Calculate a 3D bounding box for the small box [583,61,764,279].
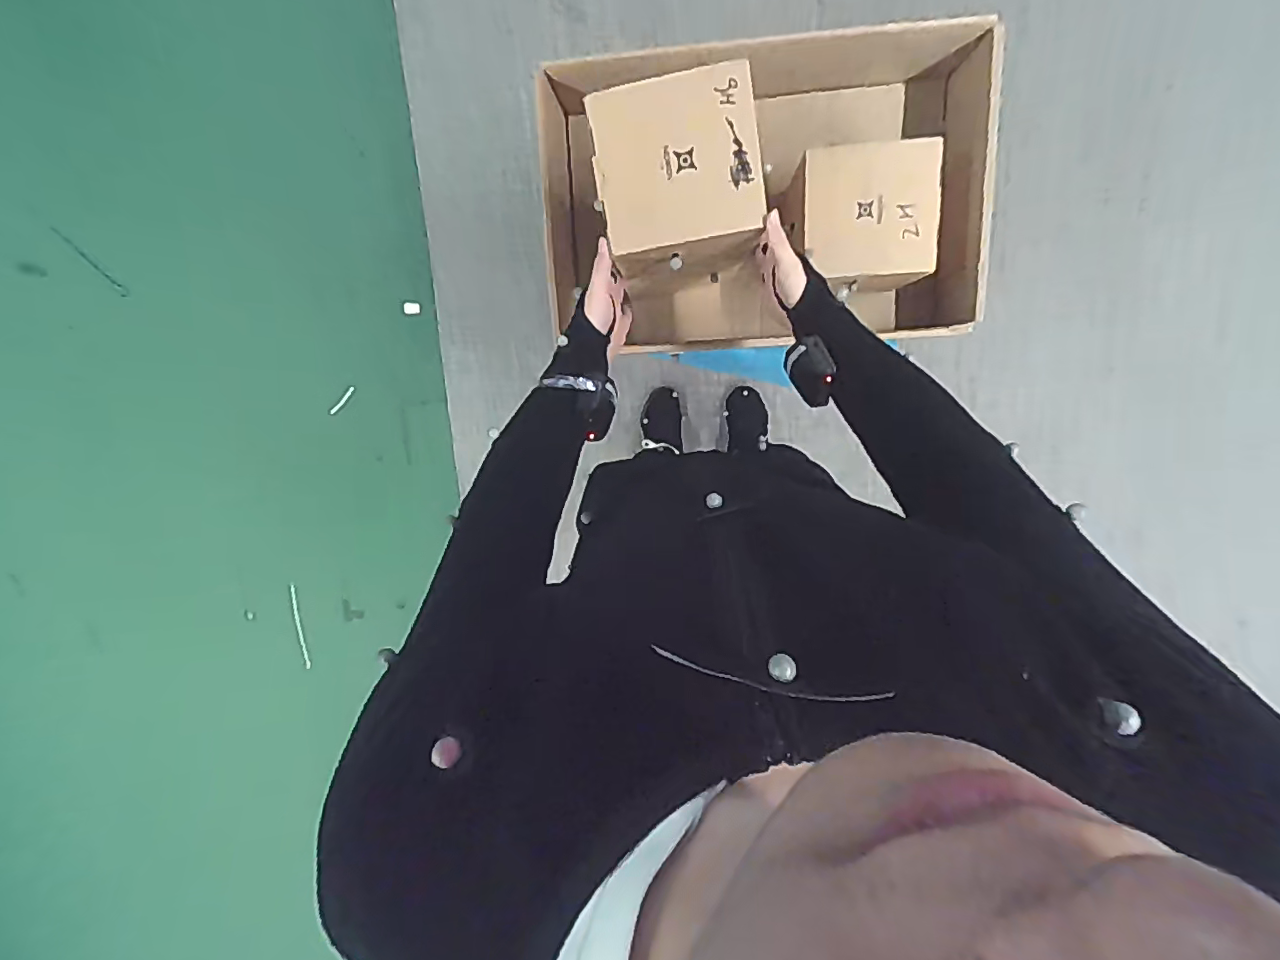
[{"bbox_3d":[0.043,-0.350,0.649,0.179,0.176,0.168,-8,100,6],"label":"small box"}]
